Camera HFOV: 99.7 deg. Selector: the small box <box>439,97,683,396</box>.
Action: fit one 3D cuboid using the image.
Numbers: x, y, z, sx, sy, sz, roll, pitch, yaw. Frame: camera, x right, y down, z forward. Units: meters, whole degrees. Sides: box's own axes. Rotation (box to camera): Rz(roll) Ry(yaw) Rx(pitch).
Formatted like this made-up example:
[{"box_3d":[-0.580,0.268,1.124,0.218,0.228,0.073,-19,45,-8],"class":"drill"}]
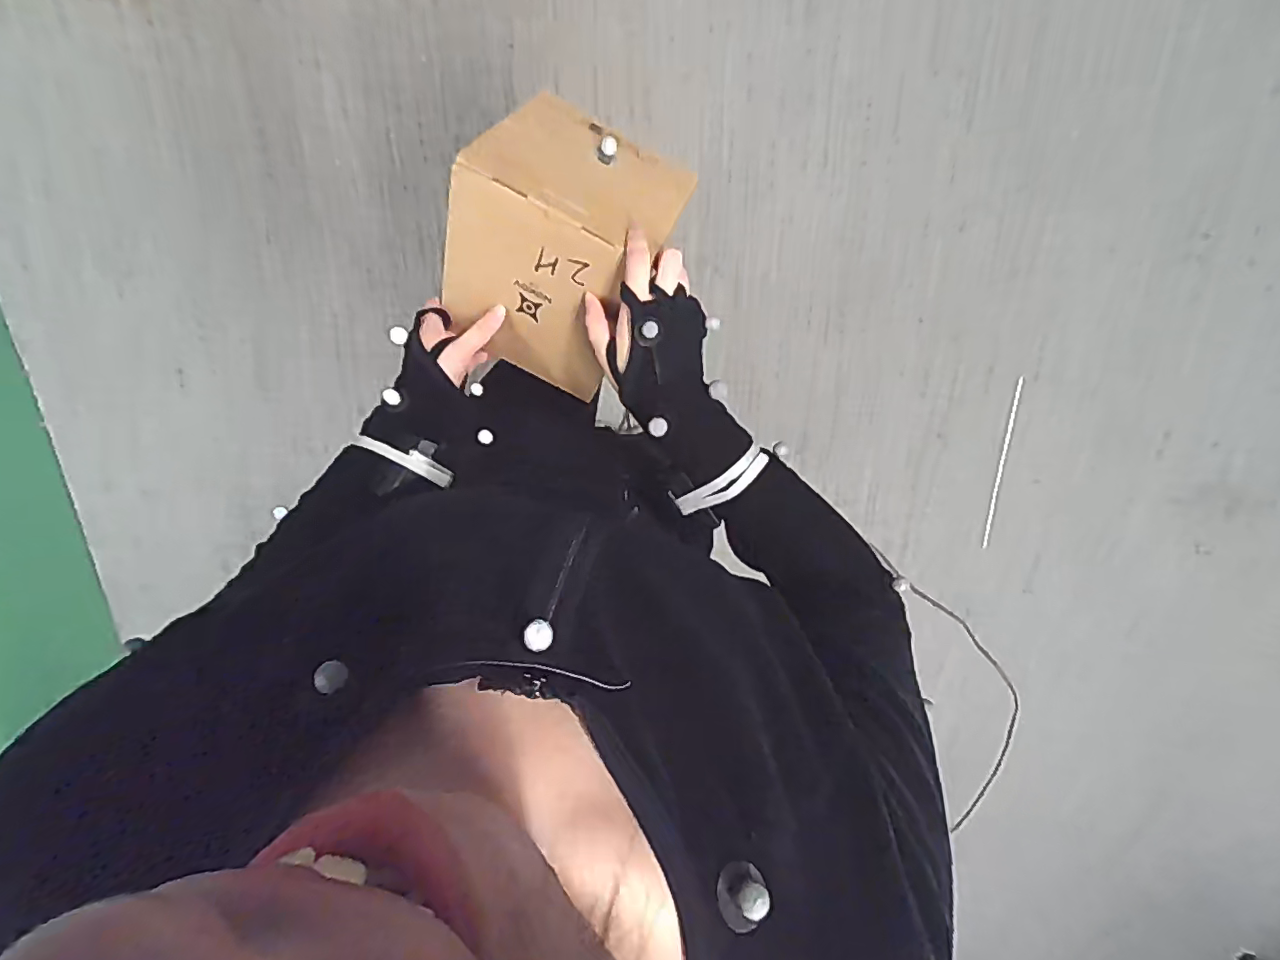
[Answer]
[{"box_3d":[-0.075,-0.224,0.530,0.168,0.176,0.179,27,142,-7],"class":"small box"}]
